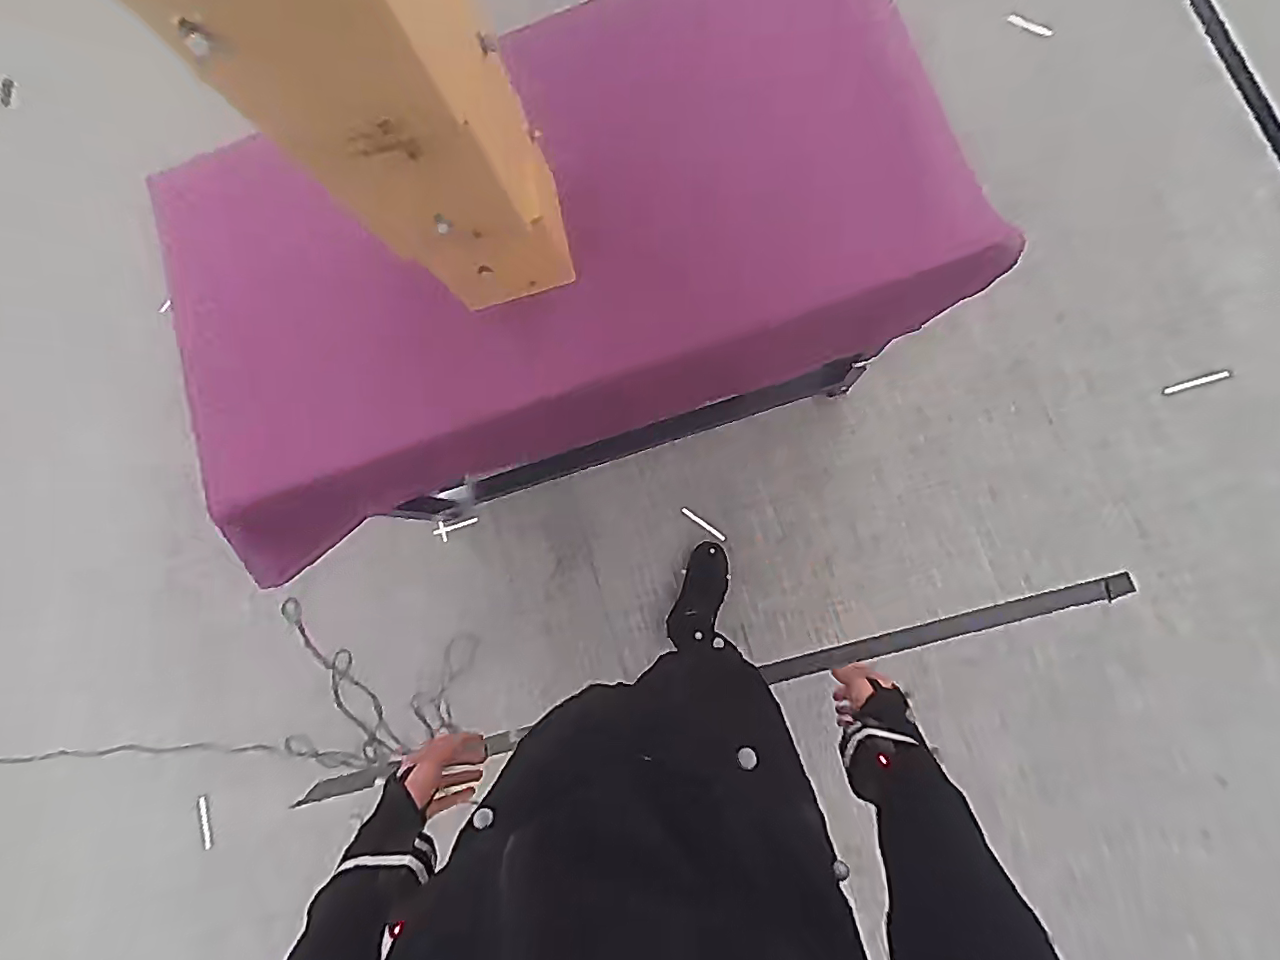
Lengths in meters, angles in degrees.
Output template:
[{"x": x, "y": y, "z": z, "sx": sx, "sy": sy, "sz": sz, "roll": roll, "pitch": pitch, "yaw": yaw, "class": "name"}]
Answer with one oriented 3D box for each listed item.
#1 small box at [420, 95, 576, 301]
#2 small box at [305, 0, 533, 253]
[{"x": -0.197, "y": -0.366, "z": 0.740, "sx": 0.168, "sy": 0.176, "sz": 0.179, "roll": -14, "pitch": 80, "yaw": 6, "class": "small box"}, {"x": -0.222, "y": -0.376, "z": 0.577, "sx": 0.168, "sy": 0.176, "sz": 0.179, "roll": -7, "pitch": 81, "yaw": 7, "class": "small box"}]
